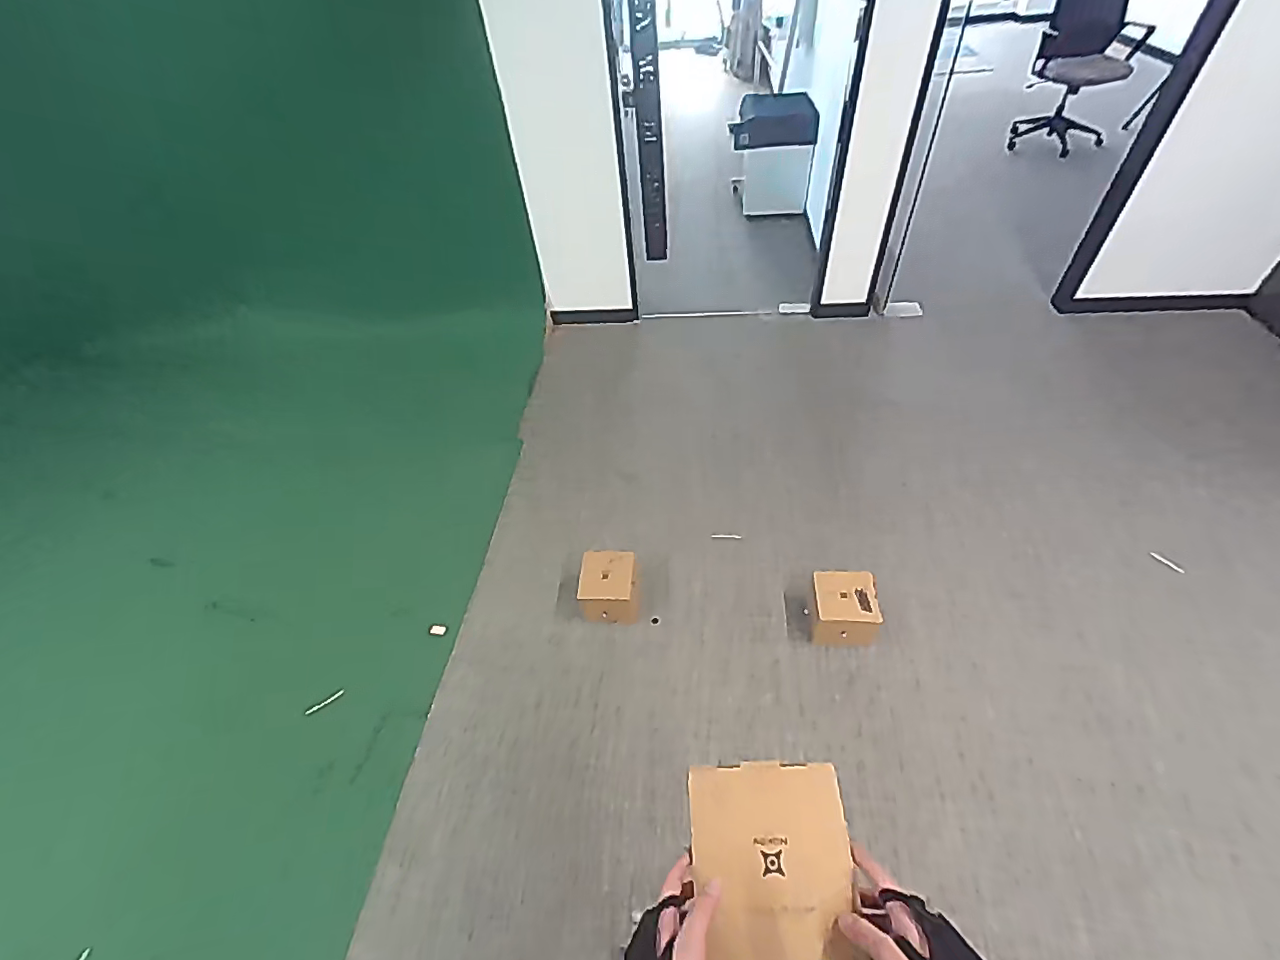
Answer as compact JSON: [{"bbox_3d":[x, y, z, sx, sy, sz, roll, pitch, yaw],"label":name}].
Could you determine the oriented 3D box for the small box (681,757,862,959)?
[{"bbox_3d":[0.132,0.426,0.619,0.168,0.176,0.179,-3,56,4],"label":"small box"}]

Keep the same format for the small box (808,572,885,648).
[{"bbox_3d":[0.614,0.396,1.632,0.179,0.176,0.168,0,48,8],"label":"small box"}]

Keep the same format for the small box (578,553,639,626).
[{"bbox_3d":[-0.094,0.357,1.751,0.168,0.176,0.179,0,48,6],"label":"small box"}]
